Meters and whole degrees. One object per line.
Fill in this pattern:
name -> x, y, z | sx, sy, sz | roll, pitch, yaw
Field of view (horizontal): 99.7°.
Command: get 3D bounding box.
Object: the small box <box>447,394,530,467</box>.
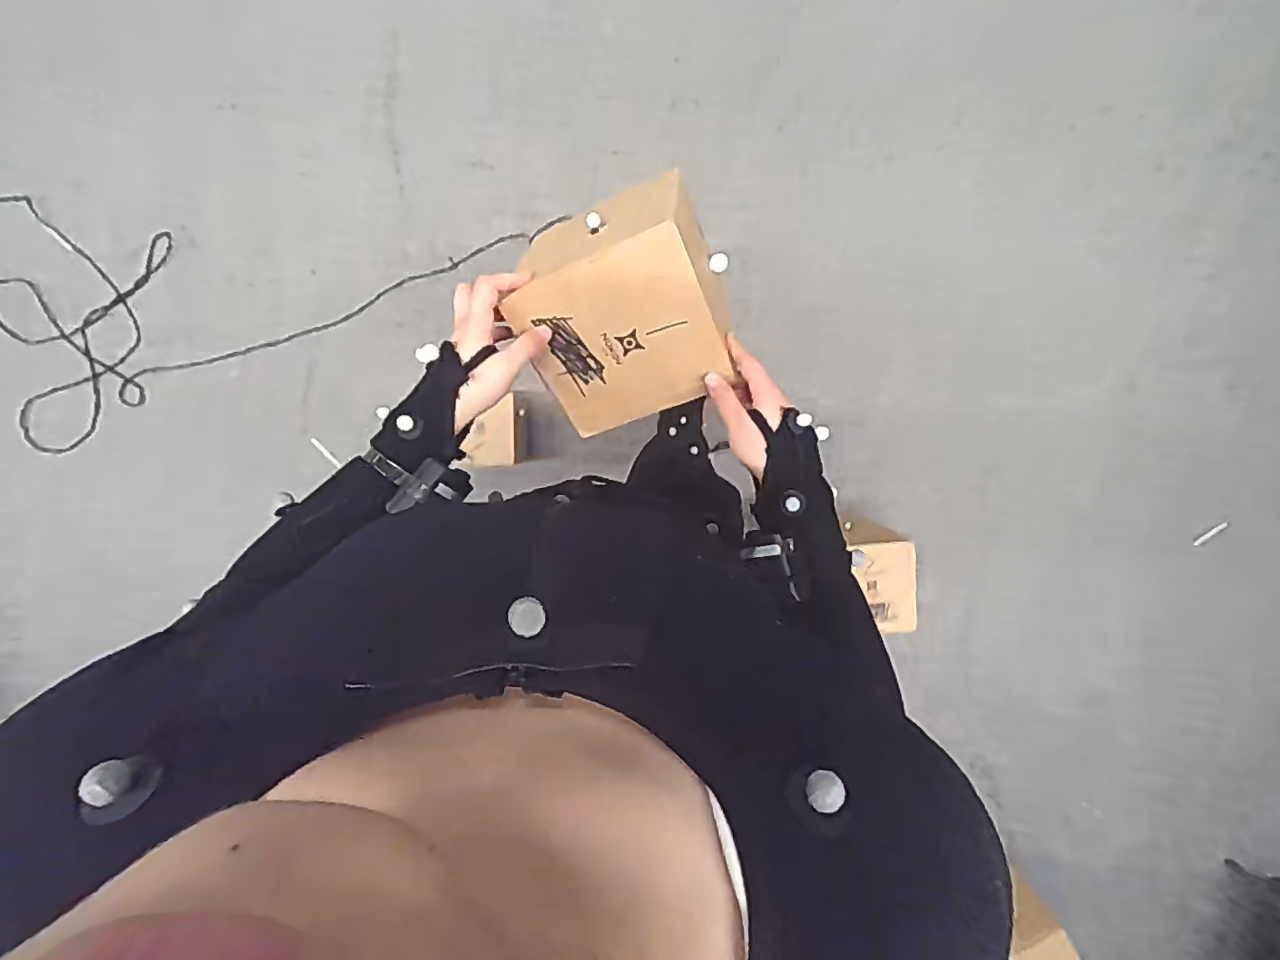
small box -> -0.381, -0.126, 1.378 | 0.168, 0.176, 0.179 | 0, 97, 1

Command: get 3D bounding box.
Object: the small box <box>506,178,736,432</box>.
small box -> -0.008, -0.183, 0.571 | 0.179, 0.176, 0.168 | -16, 130, 19

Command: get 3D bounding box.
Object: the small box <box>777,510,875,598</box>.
small box -> 0.421, 0.167, 1.253 | 0.179, 0.176, 0.168 | -2, 99, -1

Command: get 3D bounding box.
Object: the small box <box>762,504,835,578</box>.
small box -> 0.422, 0.157, 1.416 | 0.179, 0.176, 0.168 | 1, 98, 0
